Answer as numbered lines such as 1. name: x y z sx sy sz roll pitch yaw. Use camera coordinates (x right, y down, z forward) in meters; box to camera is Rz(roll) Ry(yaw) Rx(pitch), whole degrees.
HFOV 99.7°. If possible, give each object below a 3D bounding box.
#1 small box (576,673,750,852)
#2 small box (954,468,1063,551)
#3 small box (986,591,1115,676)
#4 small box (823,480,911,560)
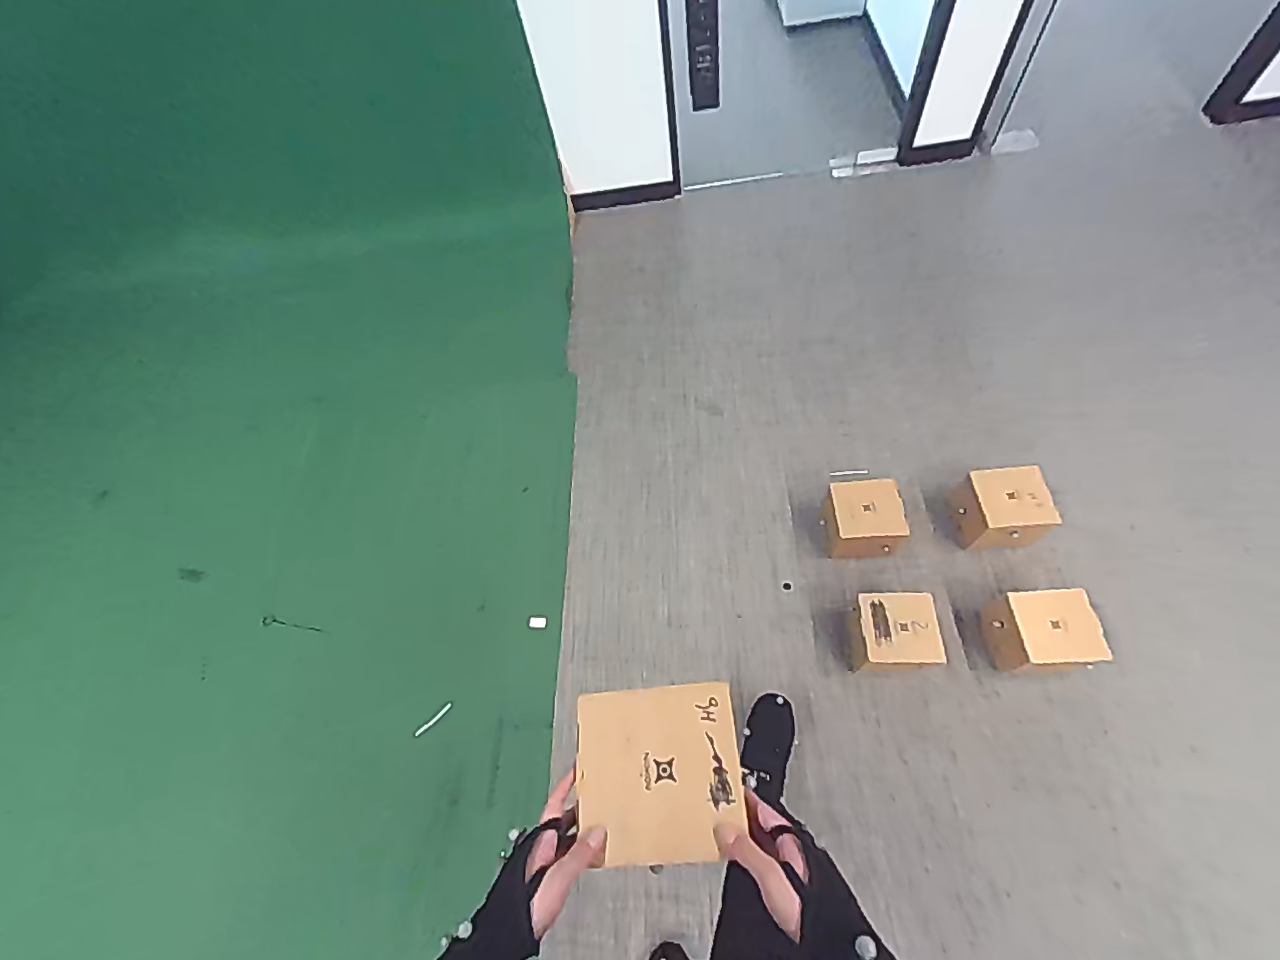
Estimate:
1. small box: 0.032 0.333 0.636 0.179 0.176 0.168 -7 60 7
2. small box: 0.971 0.085 1.450 0.179 0.176 0.168 -4 62 6
3. small box: 0.967 0.373 1.300 0.179 0.176 0.168 -4 61 5
4. small box: 0.617 0.114 1.490 0.179 0.176 0.168 -4 61 7
